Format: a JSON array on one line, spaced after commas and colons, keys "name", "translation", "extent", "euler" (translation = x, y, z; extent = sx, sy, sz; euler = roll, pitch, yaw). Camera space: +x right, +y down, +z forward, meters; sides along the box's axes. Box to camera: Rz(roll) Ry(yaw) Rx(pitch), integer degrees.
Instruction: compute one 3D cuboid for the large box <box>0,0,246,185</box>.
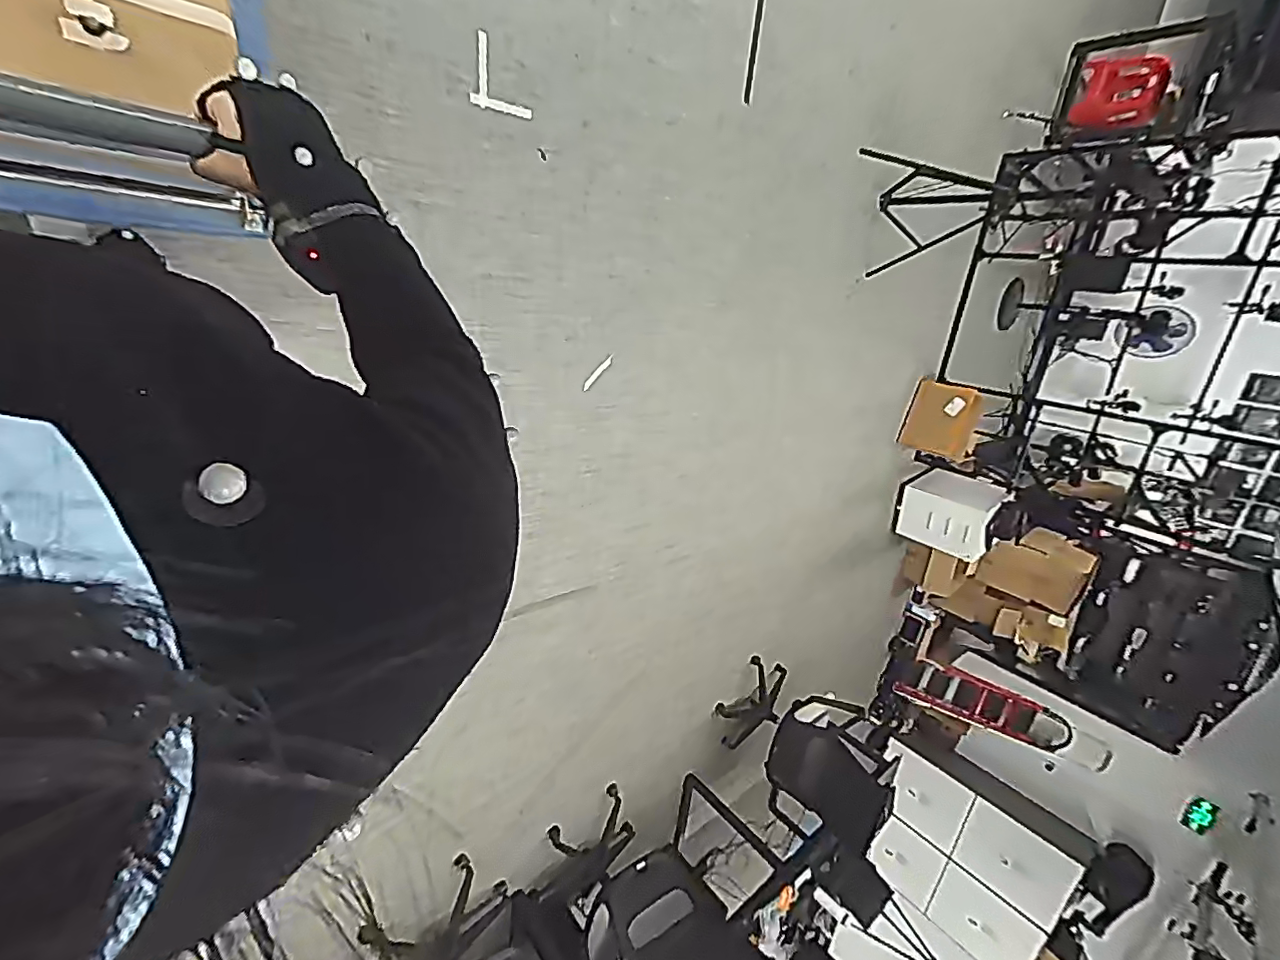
[{"name": "large box", "translation": [-0.780, -0.589, 0.674], "extent": [0.408, 0.320, 0.320], "euler": [-11, 115, -41]}]
